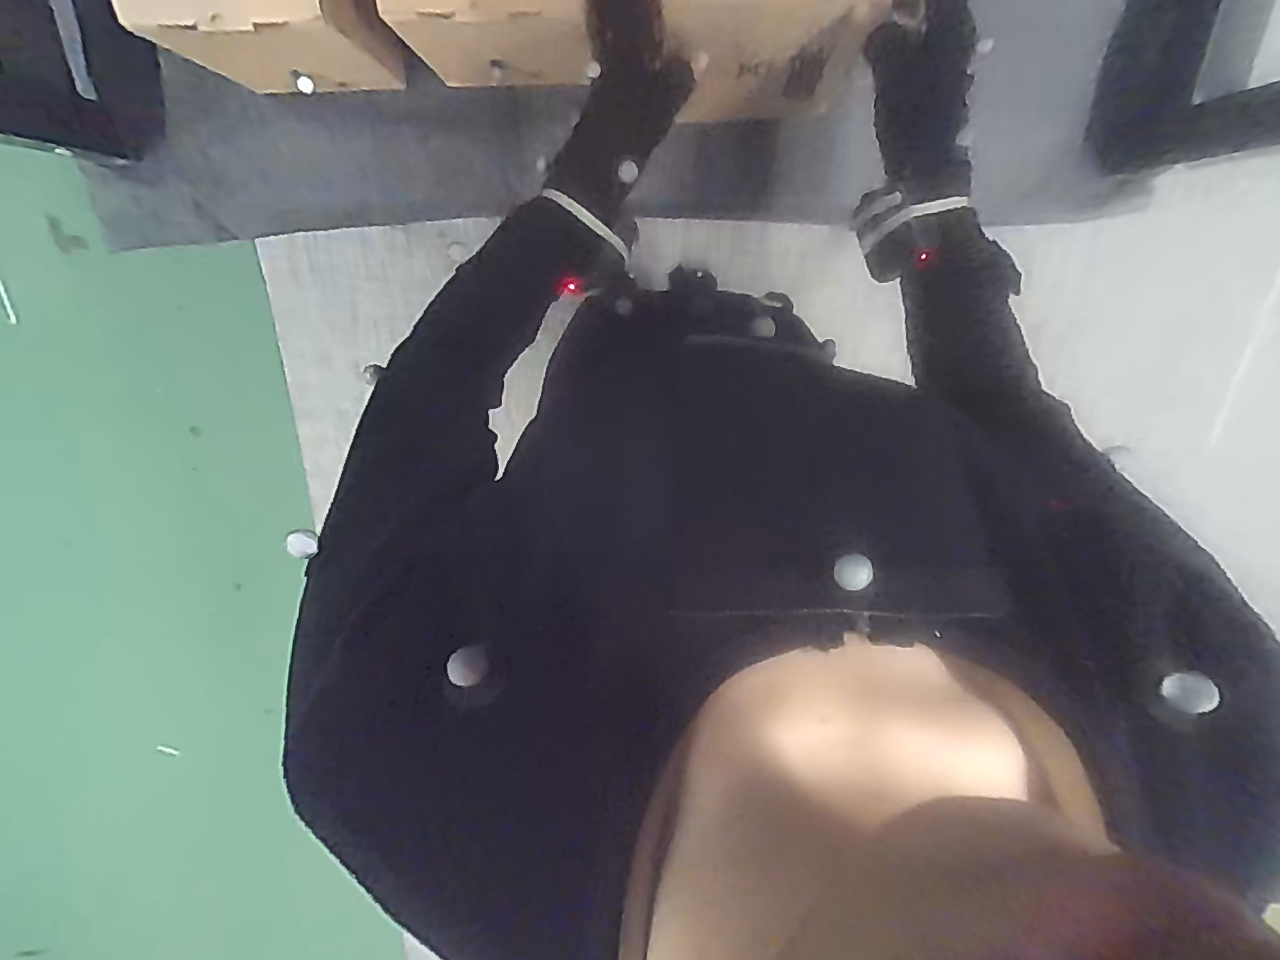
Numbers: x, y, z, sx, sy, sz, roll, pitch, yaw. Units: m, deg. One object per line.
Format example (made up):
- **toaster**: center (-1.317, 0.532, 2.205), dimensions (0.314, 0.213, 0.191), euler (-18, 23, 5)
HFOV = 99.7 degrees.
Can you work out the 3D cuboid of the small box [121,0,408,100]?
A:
- **small box**: center (-0.331, -0.469, 0.482), dimensions (0.168, 0.176, 0.179), euler (-2, 110, 0)
